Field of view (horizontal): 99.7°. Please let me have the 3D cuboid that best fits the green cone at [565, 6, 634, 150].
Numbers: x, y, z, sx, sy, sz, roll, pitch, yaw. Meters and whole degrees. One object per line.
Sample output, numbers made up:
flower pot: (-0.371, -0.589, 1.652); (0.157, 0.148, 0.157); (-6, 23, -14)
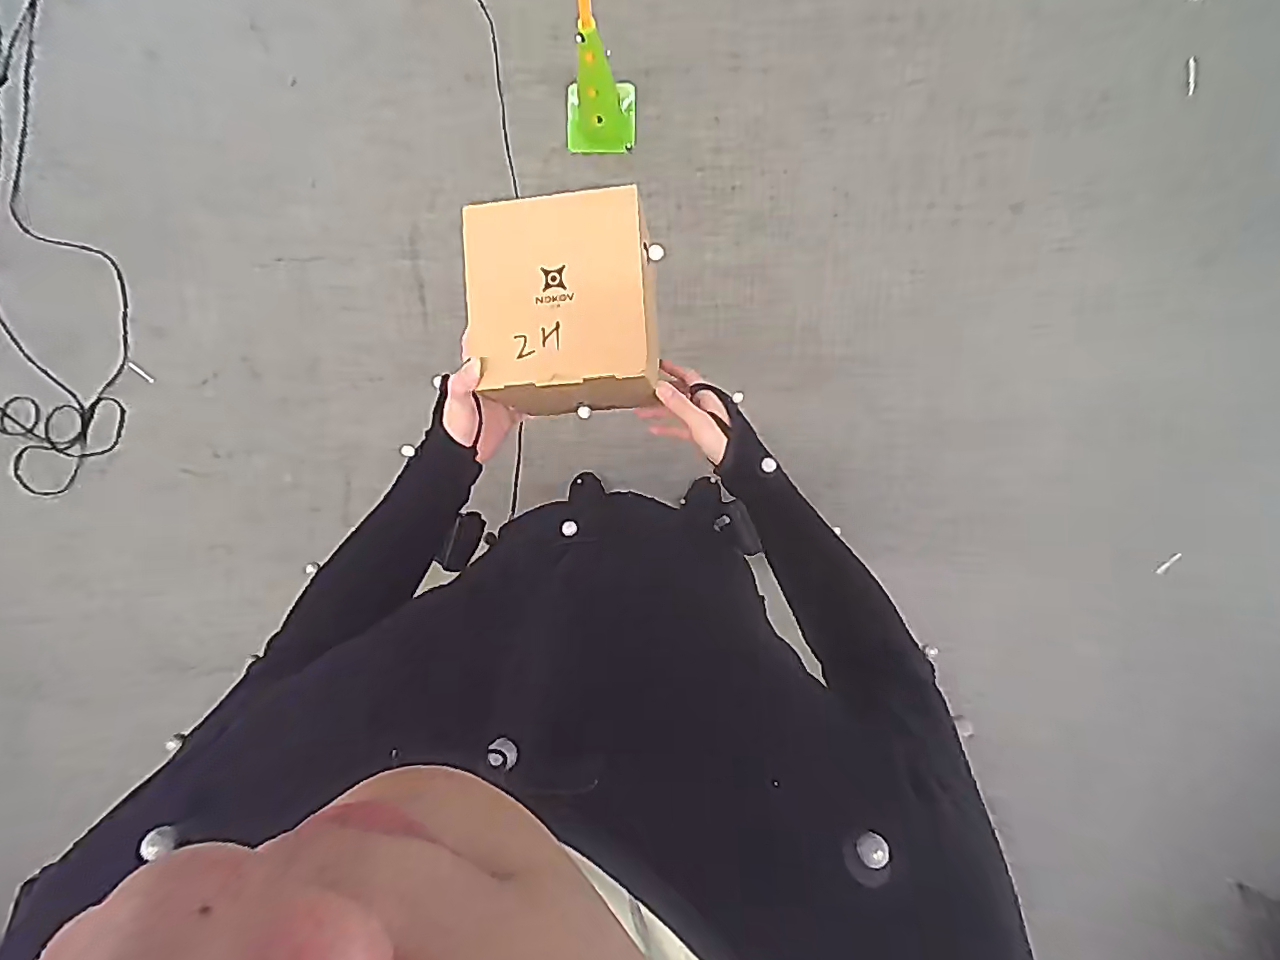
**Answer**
green cone: (-0.126, -1.062, 1.402); (0.202, 0.368, 0.200); (0, 91, 3)
